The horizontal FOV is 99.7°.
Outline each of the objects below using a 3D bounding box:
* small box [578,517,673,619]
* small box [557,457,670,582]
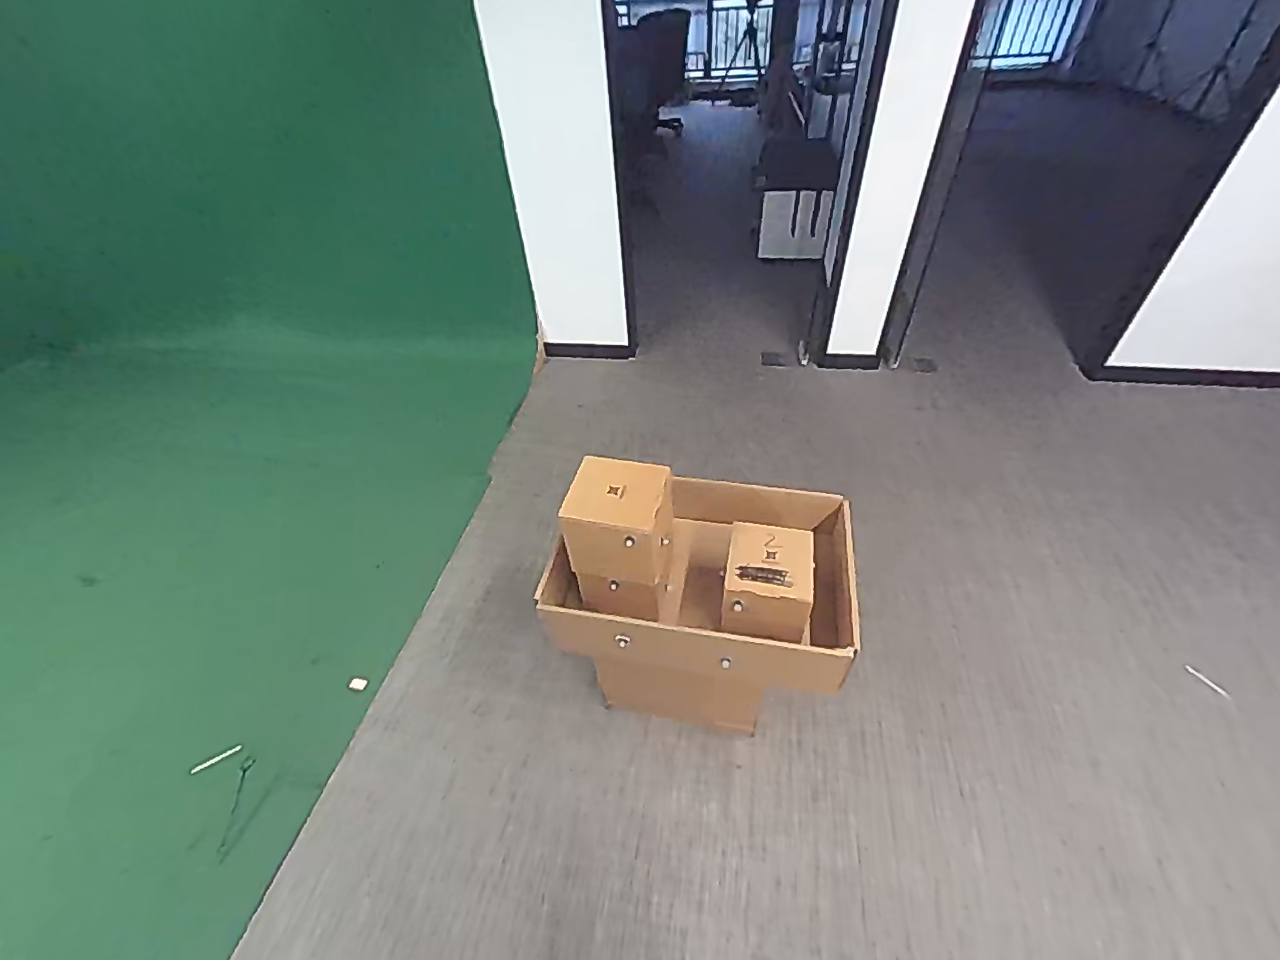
[{"bbox_3d":[-0.028,0.183,1.178,0.179,0.176,0.168,8,46,11],"label":"small box"},{"bbox_3d":[-0.042,0.078,1.053,0.179,0.176,0.168,8,46,12],"label":"small box"}]
